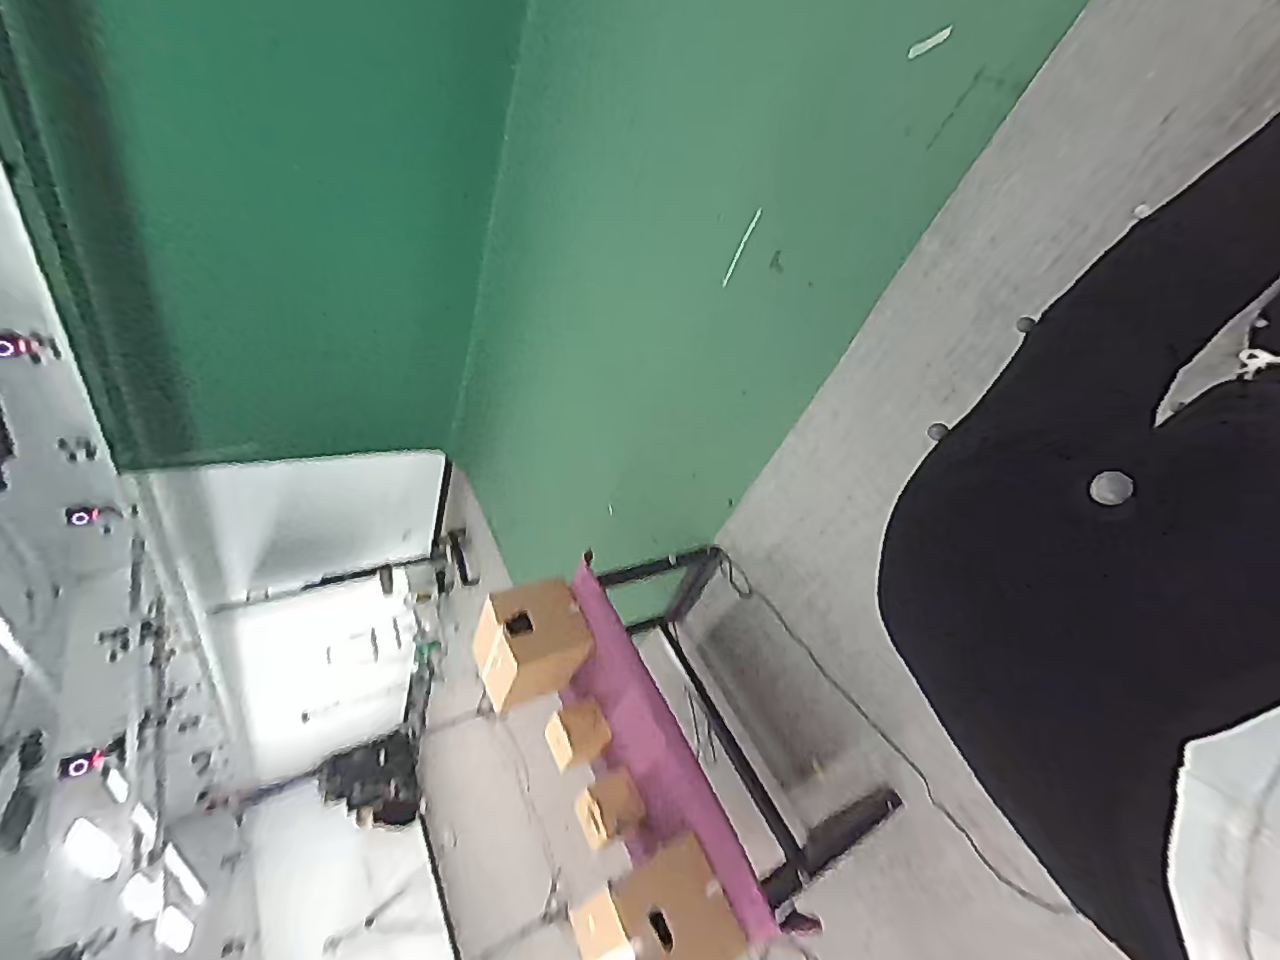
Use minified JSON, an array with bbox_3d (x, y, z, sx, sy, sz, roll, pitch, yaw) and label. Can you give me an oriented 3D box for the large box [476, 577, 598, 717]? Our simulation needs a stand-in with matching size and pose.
[{"bbox_3d":[-0.409,0.641,2.096,0.320,0.320,0.408,55,137,30],"label":"large box"}]
